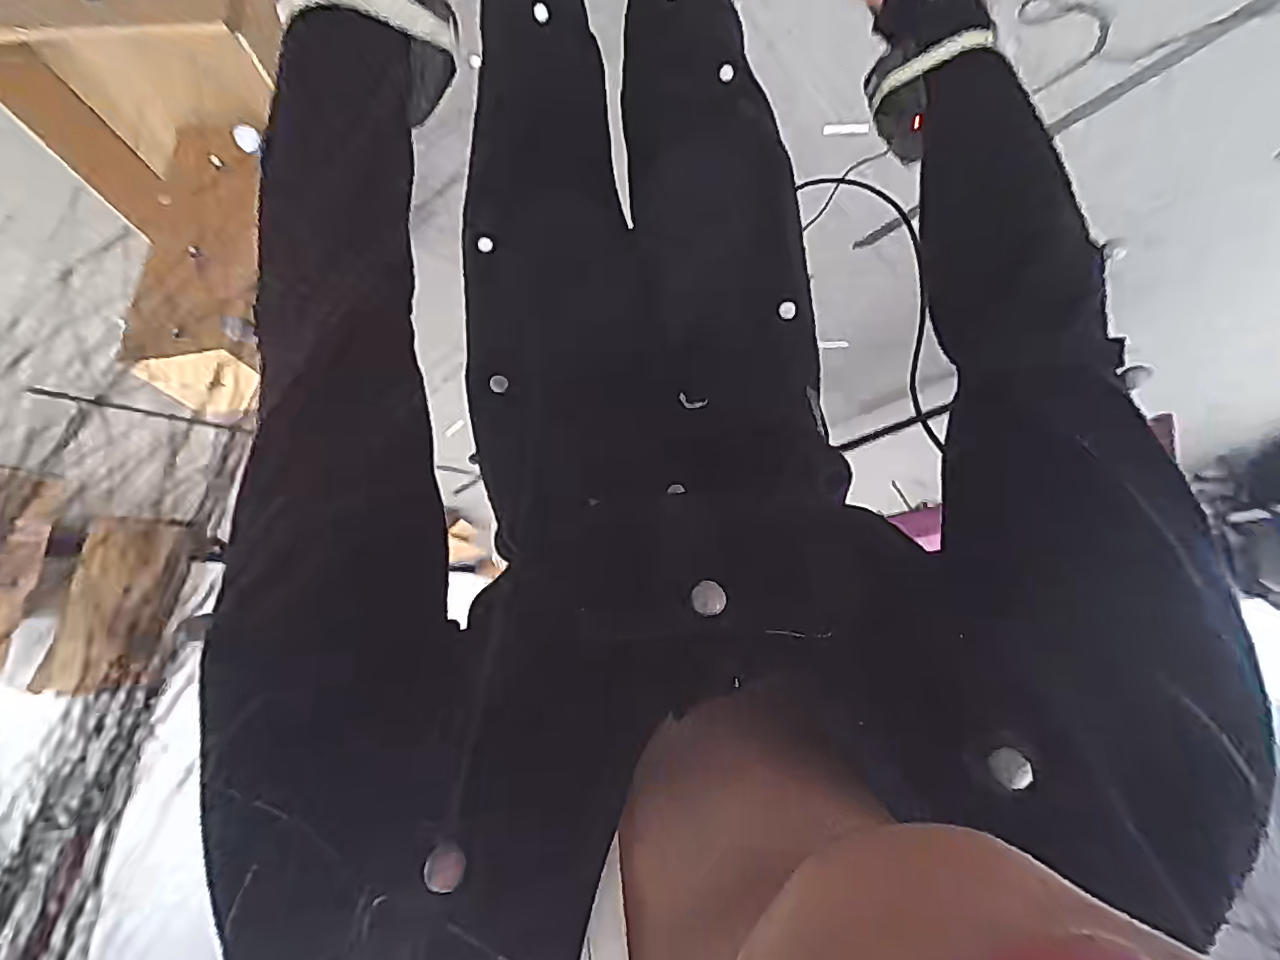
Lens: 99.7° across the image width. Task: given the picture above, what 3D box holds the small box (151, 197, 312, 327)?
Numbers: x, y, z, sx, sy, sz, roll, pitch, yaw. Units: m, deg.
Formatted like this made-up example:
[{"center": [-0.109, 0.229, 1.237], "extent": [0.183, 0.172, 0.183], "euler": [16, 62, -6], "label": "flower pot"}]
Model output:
[{"center": [-0.737, -0.394, 1.000], "extent": [0.179, 0.176, 0.168], "euler": [-6, 159, 1], "label": "small box"}]

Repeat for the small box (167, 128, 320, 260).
[{"center": [-0.753, -0.547, 1.050], "extent": [0.179, 0.176, 0.168], "euler": [-6, 160, -3], "label": "small box"}]

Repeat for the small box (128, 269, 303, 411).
[{"center": [-0.717, -0.242, 0.938], "extent": [0.179, 0.176, 0.168], "euler": [-8, 158, 1], "label": "small box"}]
